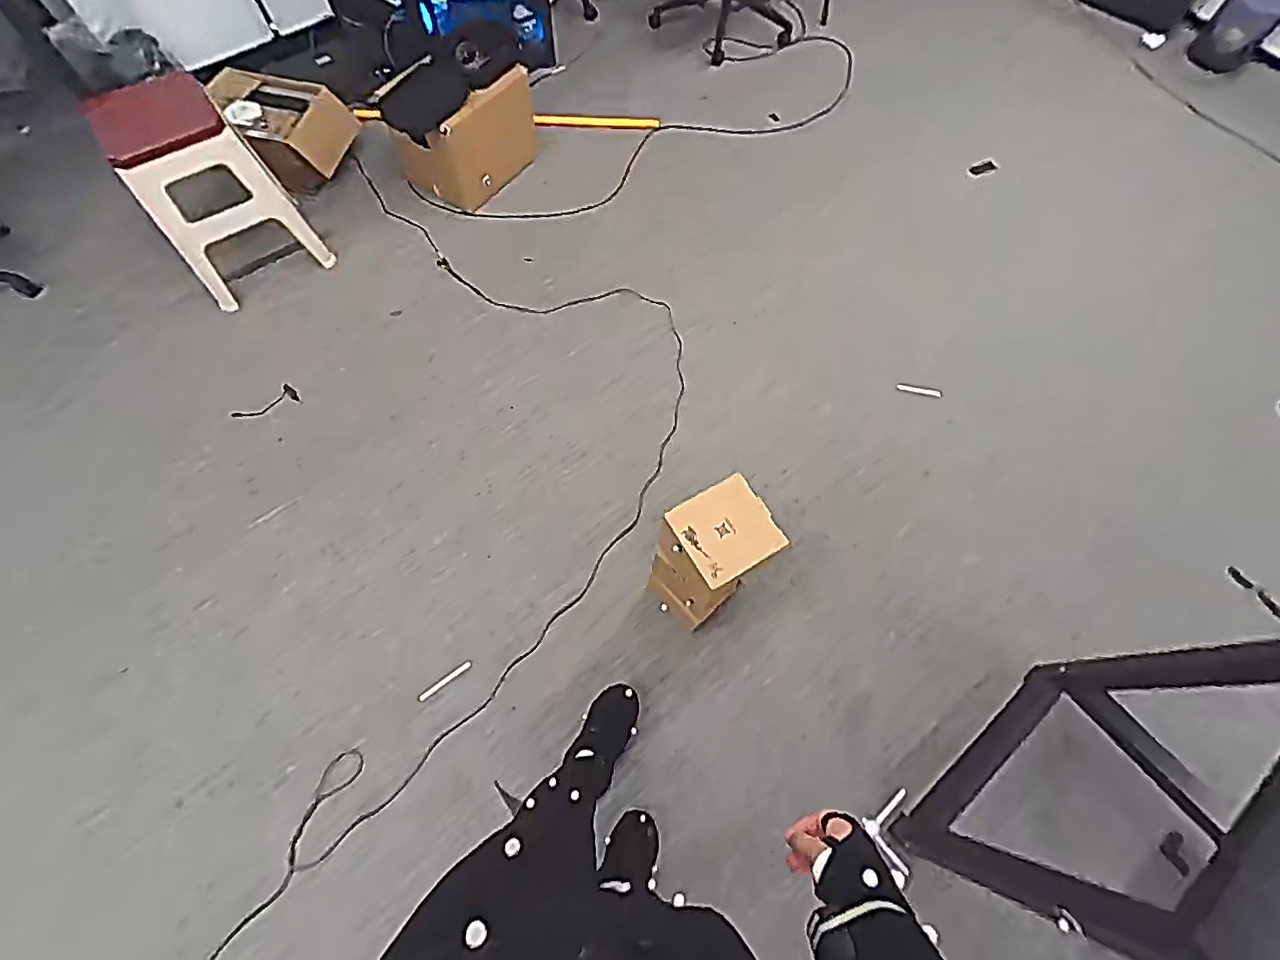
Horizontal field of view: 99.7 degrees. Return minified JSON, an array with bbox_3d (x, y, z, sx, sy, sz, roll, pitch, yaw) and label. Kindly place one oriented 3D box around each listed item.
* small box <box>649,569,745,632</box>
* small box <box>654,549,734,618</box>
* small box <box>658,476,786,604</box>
[{"bbox_3d":[0.136,0.259,1.367,0.179,0.176,0.168,-39,73,-16],"label":"small box"},{"bbox_3d":[0.144,0.188,1.222,0.168,0.176,0.179,43,70,14],"label":"small box"},{"bbox_3d":[0.152,0.124,1.071,0.179,0.176,0.168,-28,70,-15],"label":"small box"}]
